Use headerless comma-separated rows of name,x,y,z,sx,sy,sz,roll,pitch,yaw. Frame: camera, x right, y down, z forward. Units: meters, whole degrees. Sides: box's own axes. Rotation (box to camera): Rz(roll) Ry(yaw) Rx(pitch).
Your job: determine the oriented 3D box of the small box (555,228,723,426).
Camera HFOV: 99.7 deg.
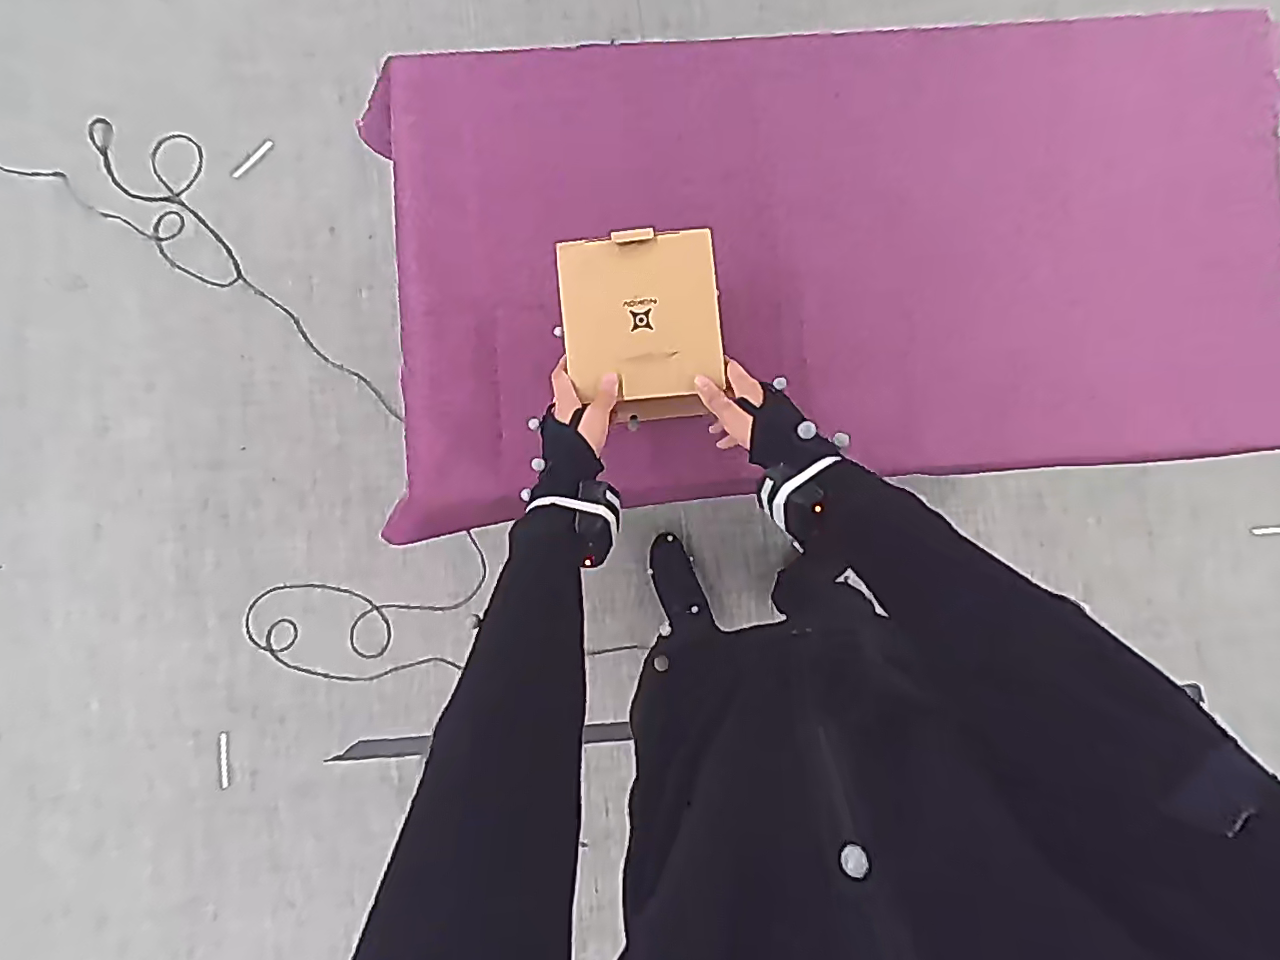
small box,-0.003,-0.167,0.636,0.168,0.176,0.179,-5,88,0
